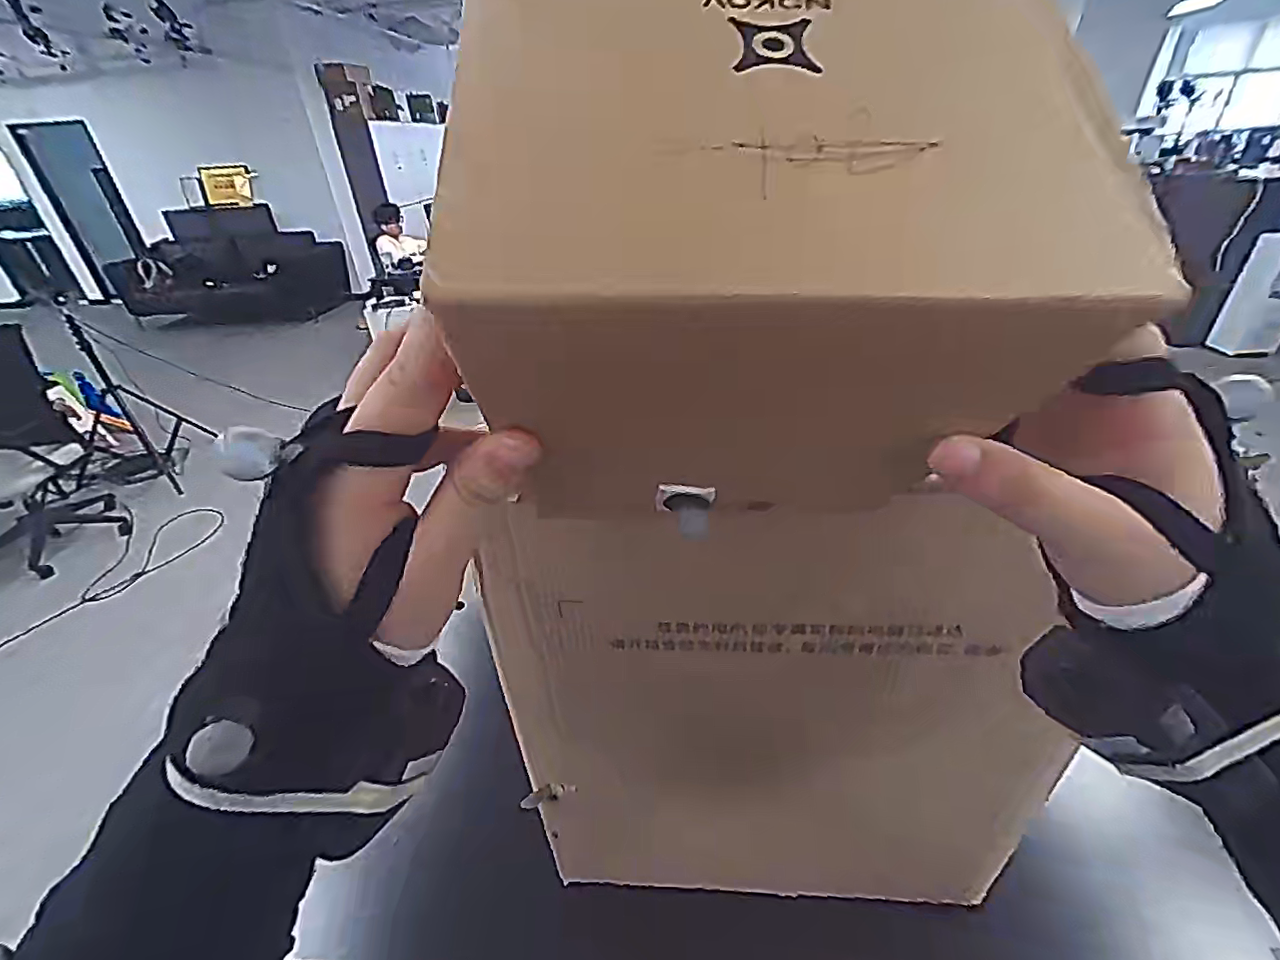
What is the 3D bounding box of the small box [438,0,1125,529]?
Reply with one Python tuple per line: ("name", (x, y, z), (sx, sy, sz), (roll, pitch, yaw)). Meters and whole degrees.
("small box", (0.030, -0.087, 0.231), (0.168, 0.176, 0.179), (-2, 69, -2))
